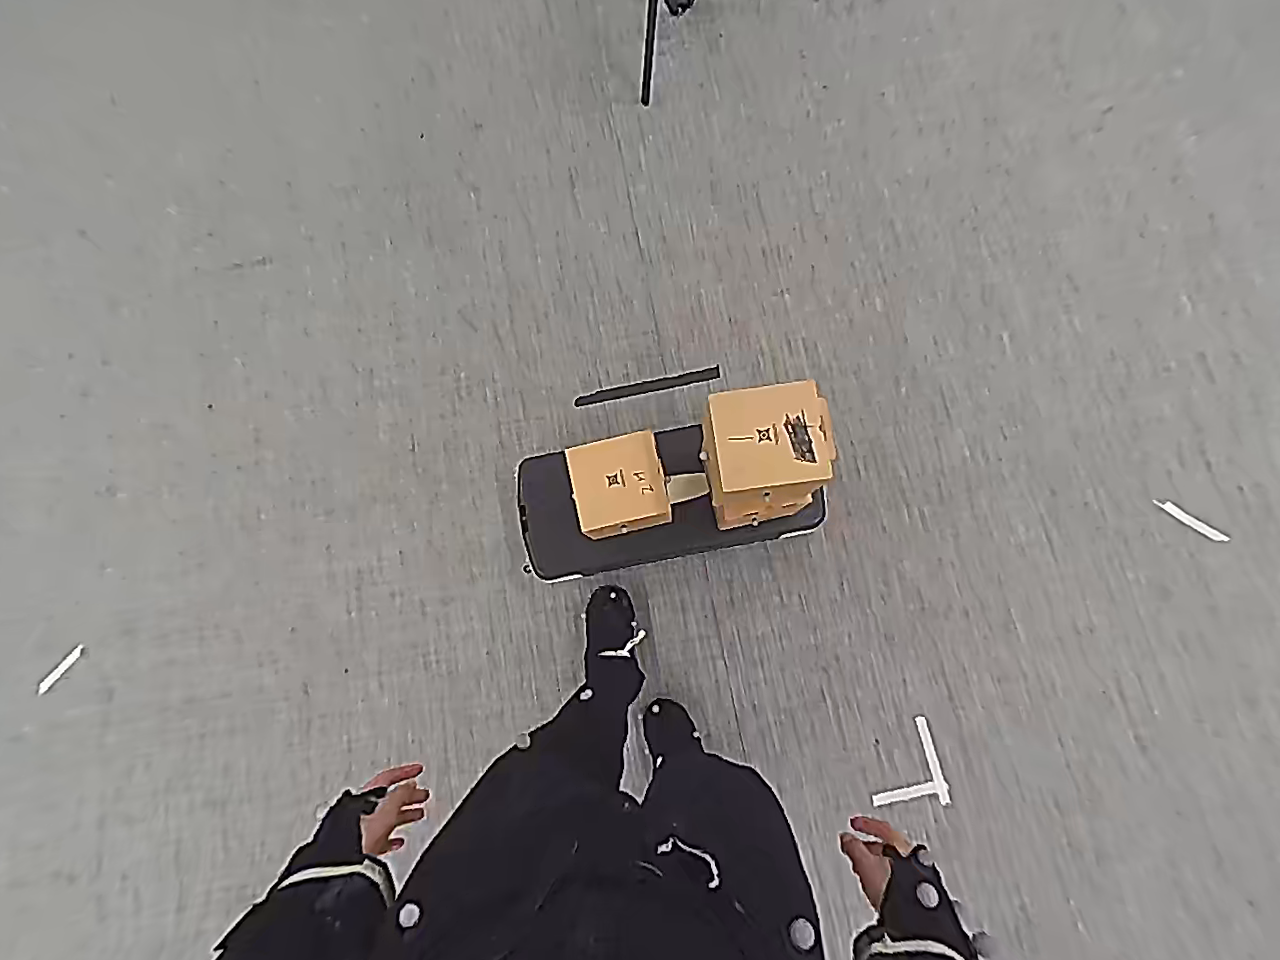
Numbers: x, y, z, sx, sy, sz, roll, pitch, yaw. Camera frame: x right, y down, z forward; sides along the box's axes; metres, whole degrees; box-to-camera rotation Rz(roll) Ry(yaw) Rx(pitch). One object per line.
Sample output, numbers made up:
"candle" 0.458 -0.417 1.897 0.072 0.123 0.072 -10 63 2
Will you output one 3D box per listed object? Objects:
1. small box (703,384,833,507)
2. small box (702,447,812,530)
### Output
"small box" 0.210 -0.052 0.933 0.179 0.176 0.168 -7 79 2
"small box" 0.225 -0.007 1.092 0.168 0.176 0.179 -13 79 0
